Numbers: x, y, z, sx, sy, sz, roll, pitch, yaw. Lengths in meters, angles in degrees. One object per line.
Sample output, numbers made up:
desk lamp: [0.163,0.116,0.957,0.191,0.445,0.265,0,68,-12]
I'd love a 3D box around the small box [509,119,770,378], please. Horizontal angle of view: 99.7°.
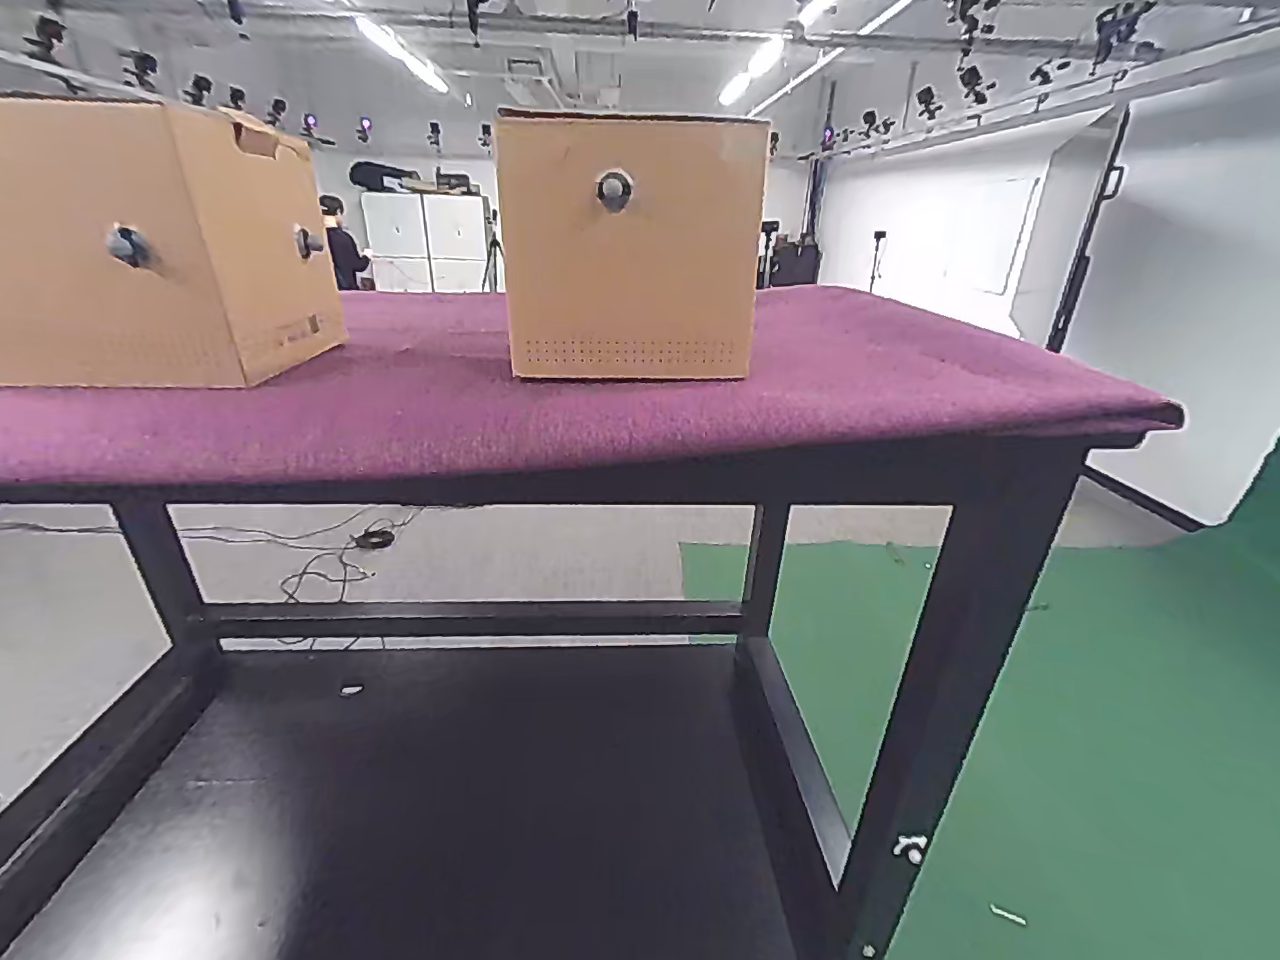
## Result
small box: [-0.002,-0.183,0.454,0.179,0.176,0.168,1,23,-2]

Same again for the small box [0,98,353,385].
small box: [-0.349,-0.173,0.413,0.179,0.176,0.168,-1,25,-4]
